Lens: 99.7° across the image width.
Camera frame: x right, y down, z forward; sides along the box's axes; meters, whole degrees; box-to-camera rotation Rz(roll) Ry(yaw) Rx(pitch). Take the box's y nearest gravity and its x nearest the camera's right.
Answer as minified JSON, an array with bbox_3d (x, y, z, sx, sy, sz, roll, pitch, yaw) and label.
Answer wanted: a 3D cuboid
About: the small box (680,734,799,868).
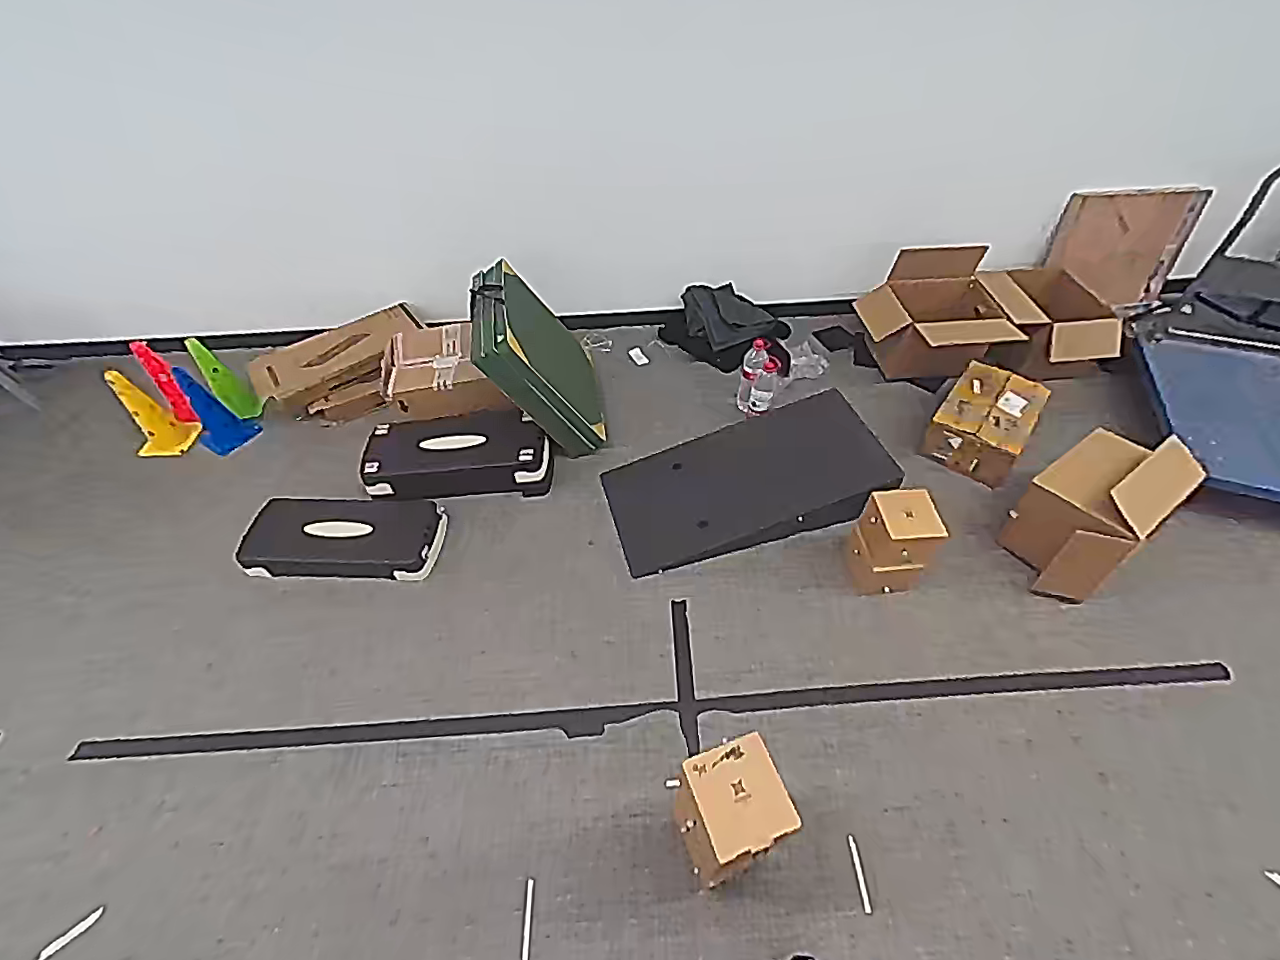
[{"bbox_3d":[0.185,0.635,1.062,0.168,0.176,0.179,-16,52,-12],"label":"small box"}]
